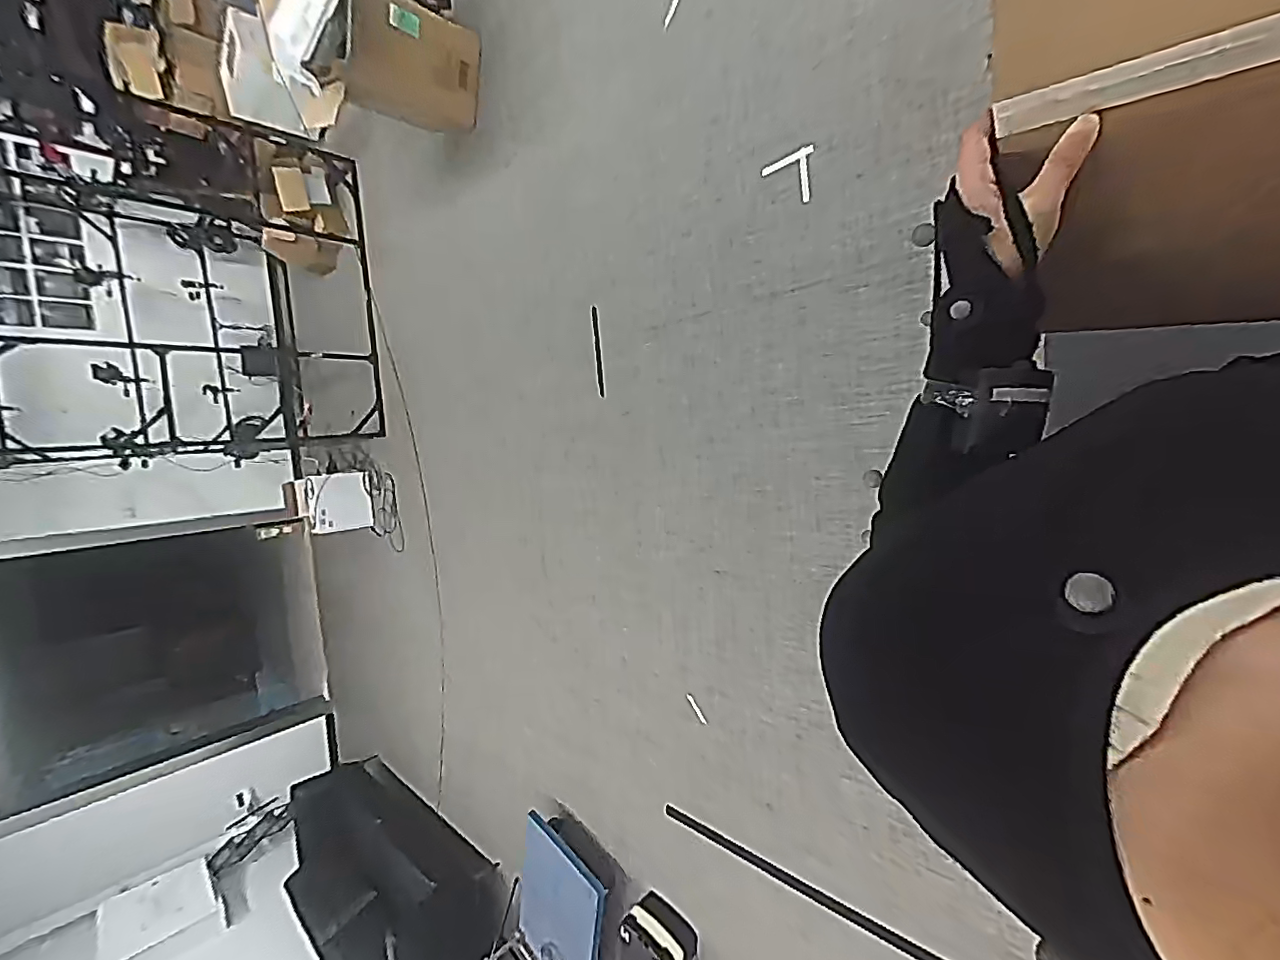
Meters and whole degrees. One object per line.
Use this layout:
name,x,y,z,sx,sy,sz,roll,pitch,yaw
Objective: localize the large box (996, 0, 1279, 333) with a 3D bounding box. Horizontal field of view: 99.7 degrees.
large box,0.468,-0.311,0.296,0.408,0.320,0.320,8,135,45
